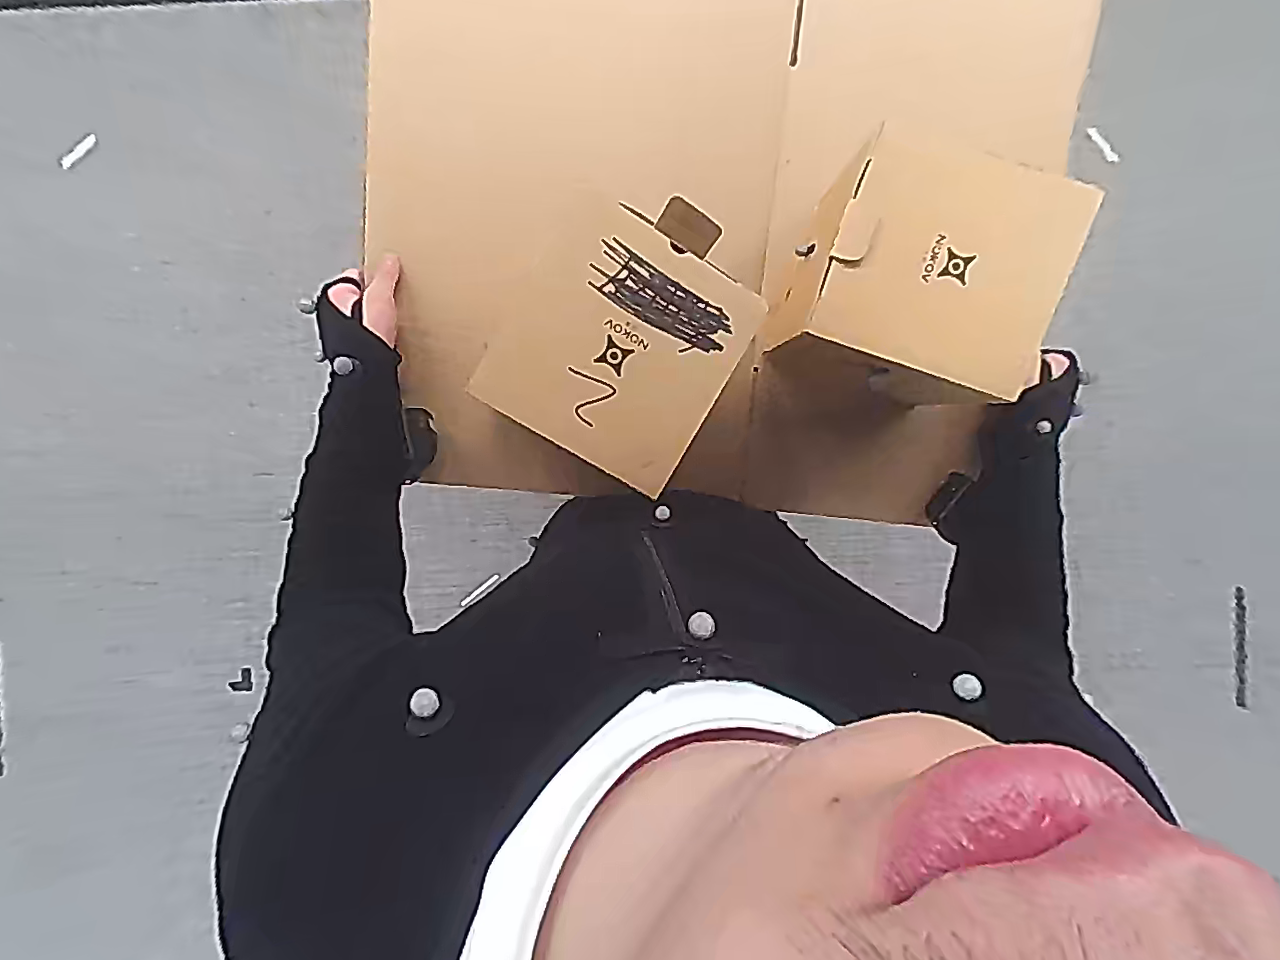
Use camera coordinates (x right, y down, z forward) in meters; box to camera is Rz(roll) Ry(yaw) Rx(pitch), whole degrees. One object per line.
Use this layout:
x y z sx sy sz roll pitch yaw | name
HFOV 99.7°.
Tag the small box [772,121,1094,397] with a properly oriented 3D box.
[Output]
0.243 -0.182 0.501 0.179 0.176 0.168 18 98 1 | small box
